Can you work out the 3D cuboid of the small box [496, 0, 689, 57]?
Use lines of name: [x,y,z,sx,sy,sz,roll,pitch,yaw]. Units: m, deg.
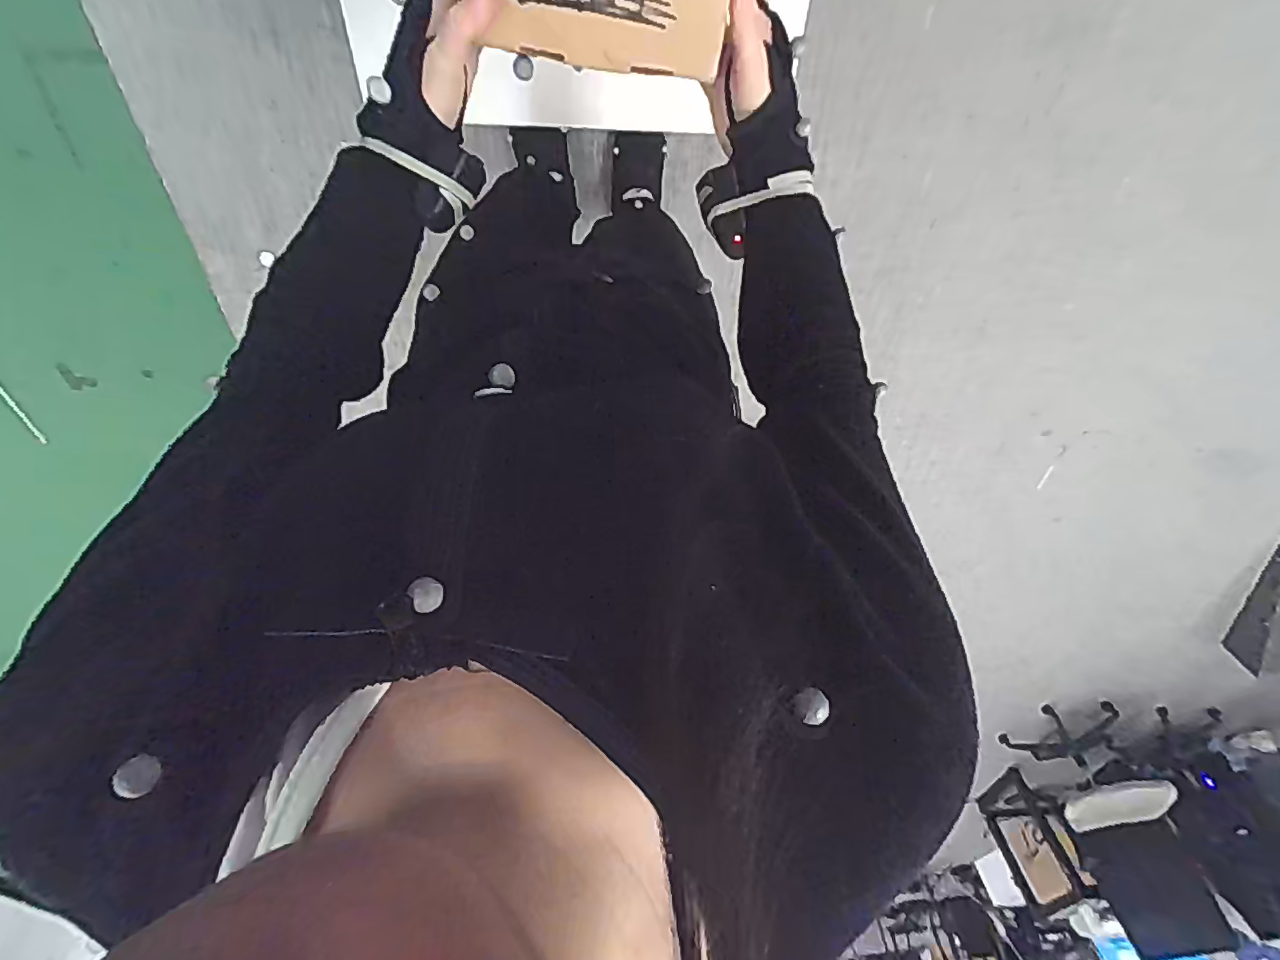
small box: [-0.041,-0.500,0.486,0.168,0.176,0.179,1,128,-6]
